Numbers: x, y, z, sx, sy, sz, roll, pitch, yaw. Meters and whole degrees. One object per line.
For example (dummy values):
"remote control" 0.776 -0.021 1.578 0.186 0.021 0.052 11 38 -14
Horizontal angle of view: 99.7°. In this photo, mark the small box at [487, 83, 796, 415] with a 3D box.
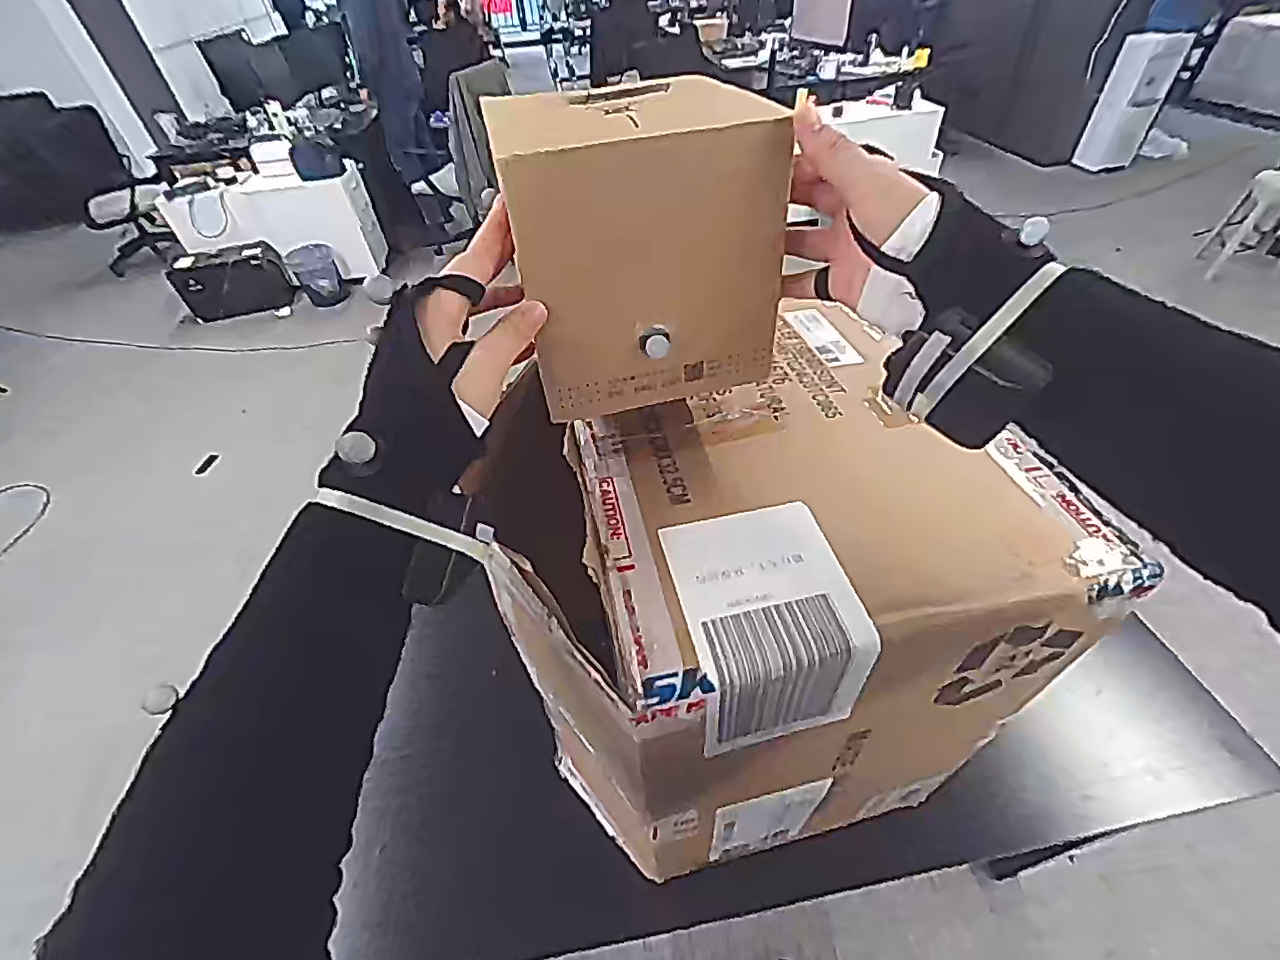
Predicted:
"small box" -0.009 -0.172 0.397 0.168 0.176 0.179 -13 43 -8
